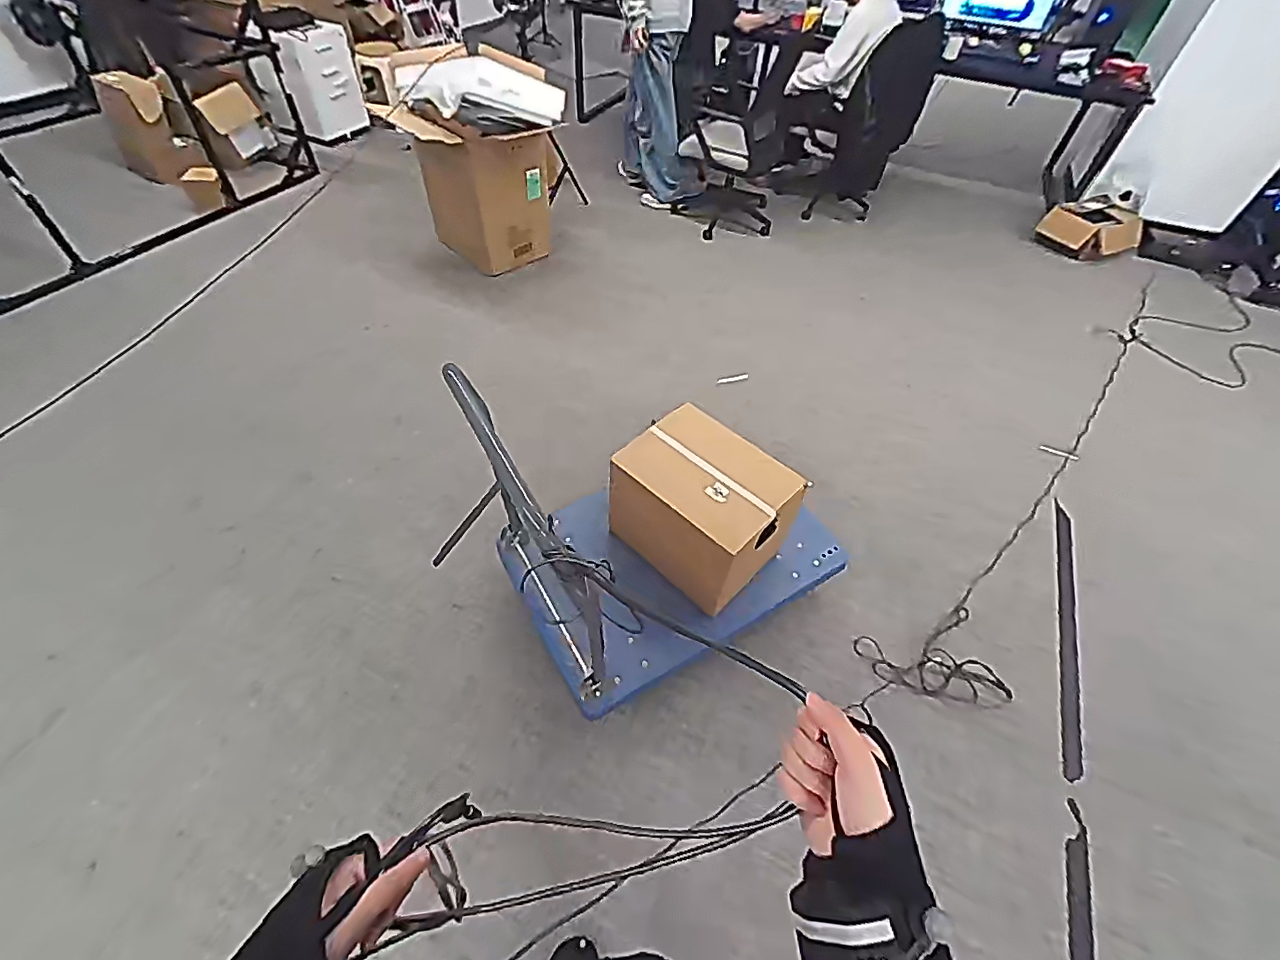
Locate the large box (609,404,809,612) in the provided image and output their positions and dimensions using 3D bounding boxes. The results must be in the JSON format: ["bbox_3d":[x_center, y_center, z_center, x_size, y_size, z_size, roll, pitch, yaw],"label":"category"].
[{"bbox_3d":[0.164,0.070,1.461,0.408,0.320,0.320,38,59,24],"label":"large box"}]
